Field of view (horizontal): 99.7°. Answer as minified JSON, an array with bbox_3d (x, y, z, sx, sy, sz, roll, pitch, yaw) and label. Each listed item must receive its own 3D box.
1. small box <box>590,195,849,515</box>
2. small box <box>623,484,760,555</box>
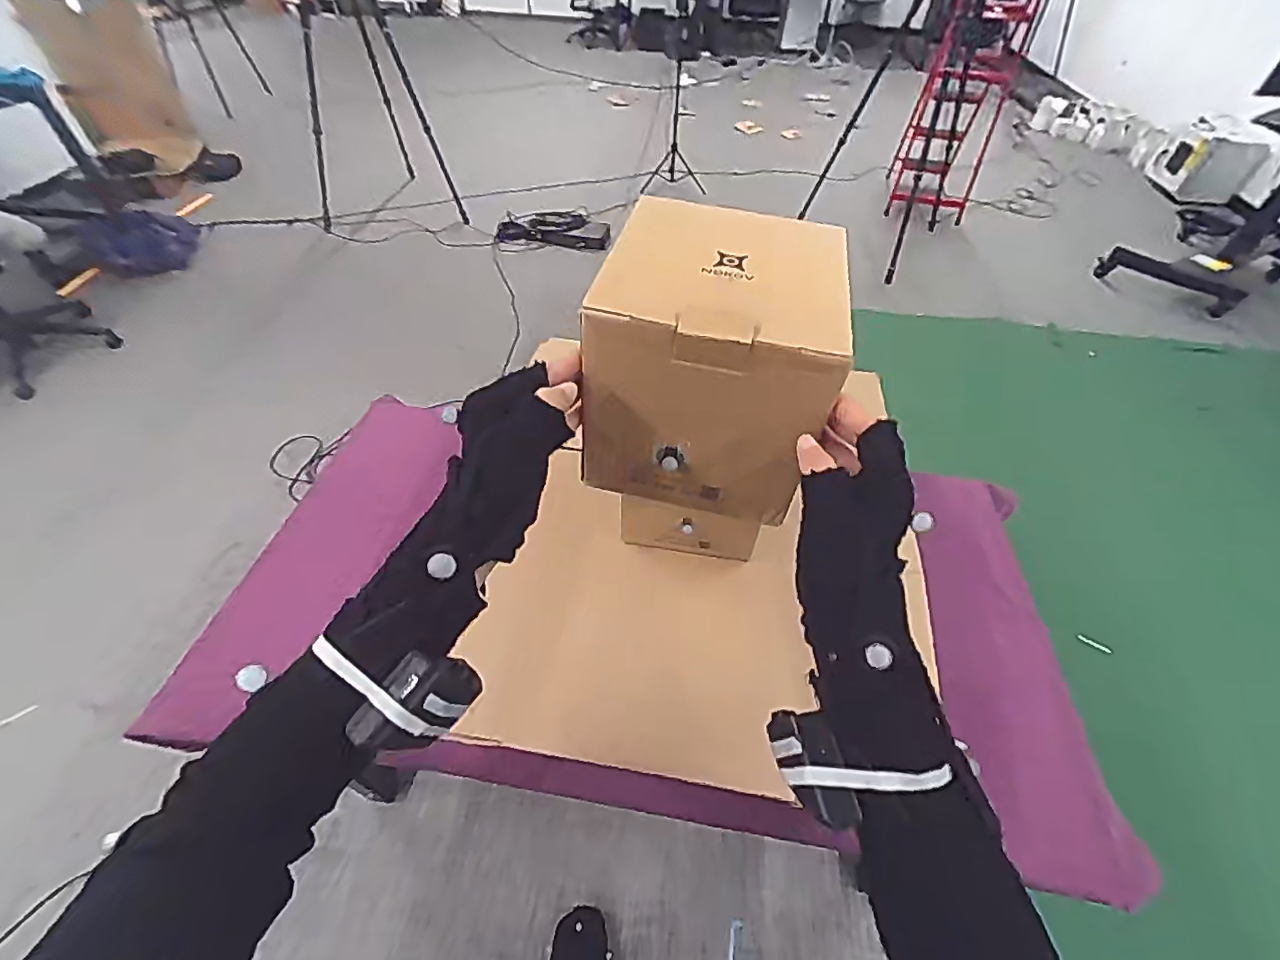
[{"bbox_3d":[0.058,-0.100,0.443,0.168,0.176,0.179,12,51,5],"label":"small box"},{"bbox_3d":[0.073,-0.032,0.683,0.168,0.176,0.179,8,48,6],"label":"small box"}]
